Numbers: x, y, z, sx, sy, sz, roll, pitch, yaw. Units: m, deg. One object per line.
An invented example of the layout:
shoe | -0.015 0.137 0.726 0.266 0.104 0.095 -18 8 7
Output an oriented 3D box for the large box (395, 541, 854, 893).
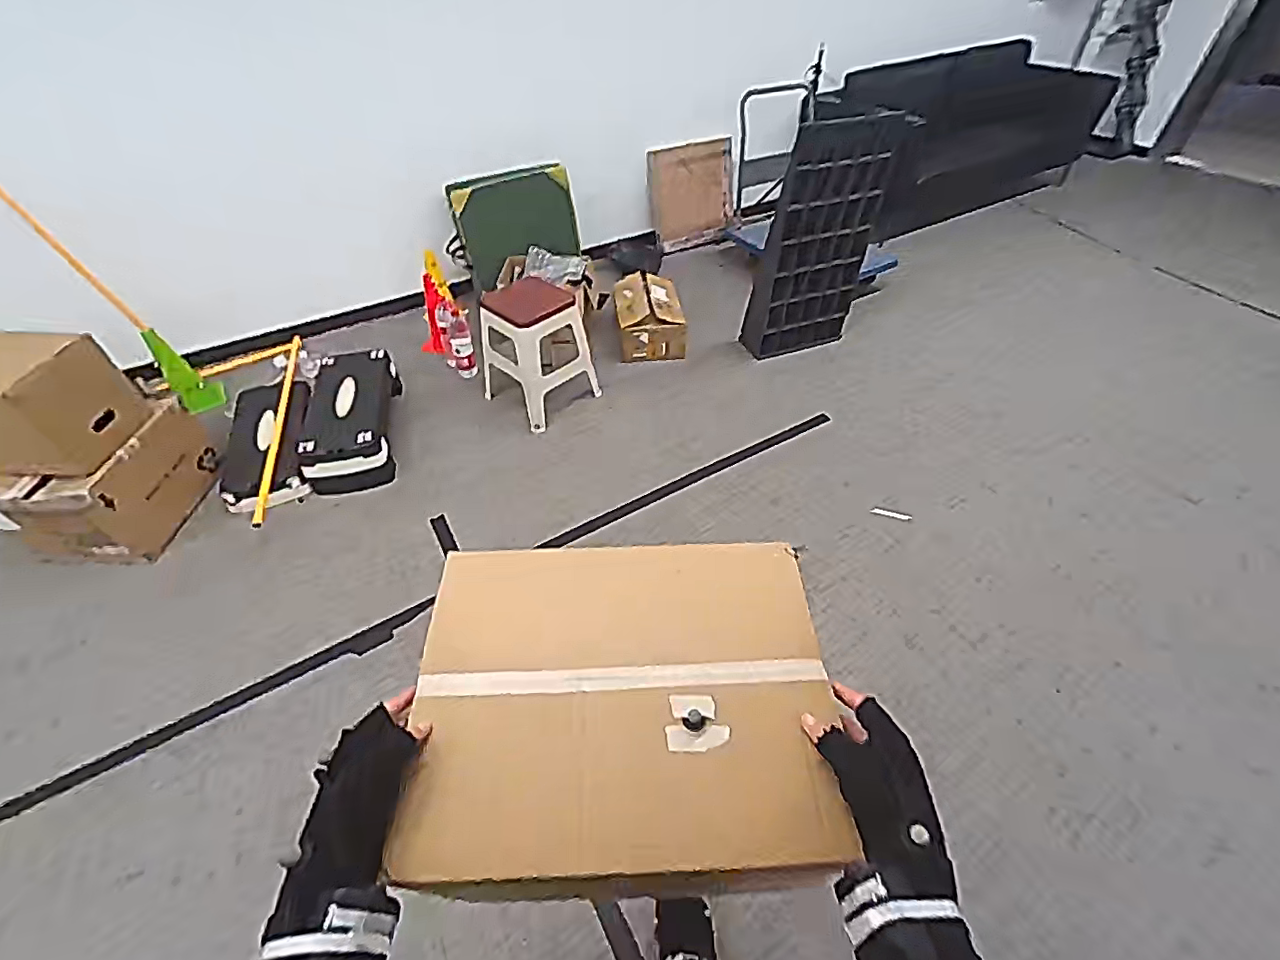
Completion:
large box | -0.019 0.295 0.668 0.408 0.320 0.320 -2 50 -1
